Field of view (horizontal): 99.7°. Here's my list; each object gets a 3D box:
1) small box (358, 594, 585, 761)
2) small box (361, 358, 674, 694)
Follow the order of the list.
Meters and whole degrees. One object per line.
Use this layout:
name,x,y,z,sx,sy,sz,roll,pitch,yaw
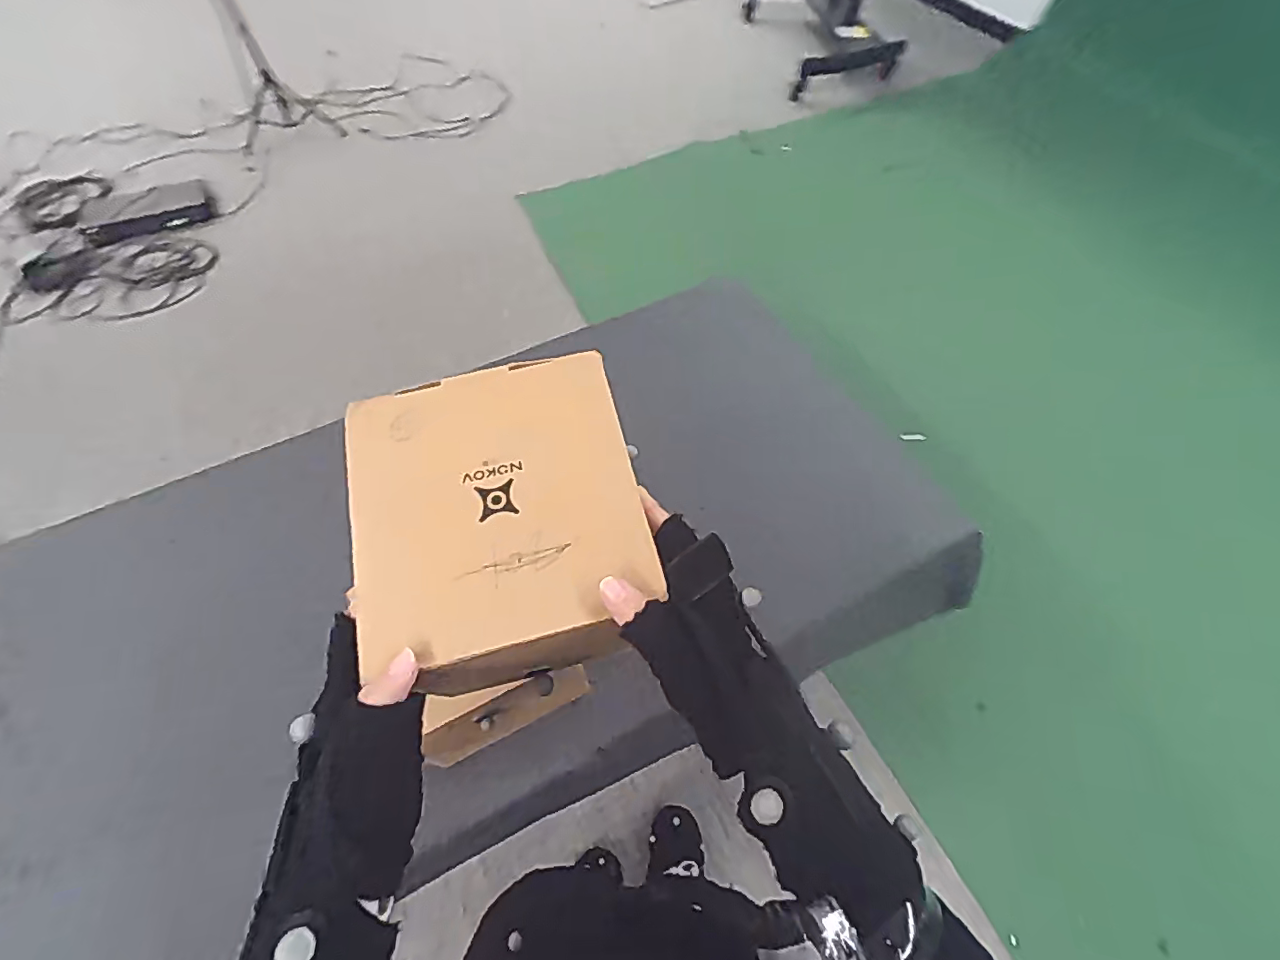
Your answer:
small box,-0.175,0.189,0.601,0.179,0.176,0.168,-24,62,-15
small box,-0.081,0.043,0.393,0.168,0.176,0.179,-13,67,-6
